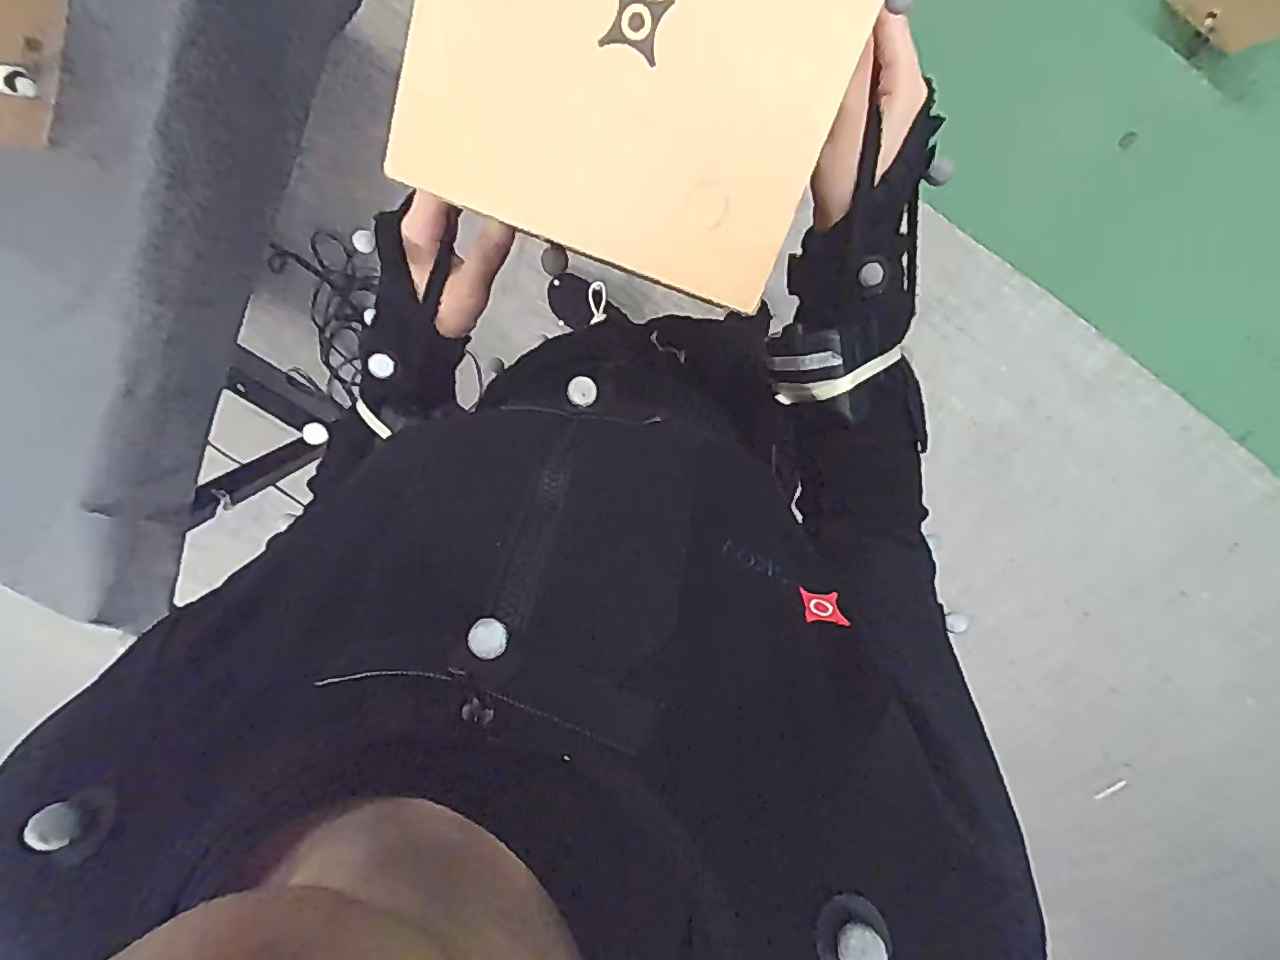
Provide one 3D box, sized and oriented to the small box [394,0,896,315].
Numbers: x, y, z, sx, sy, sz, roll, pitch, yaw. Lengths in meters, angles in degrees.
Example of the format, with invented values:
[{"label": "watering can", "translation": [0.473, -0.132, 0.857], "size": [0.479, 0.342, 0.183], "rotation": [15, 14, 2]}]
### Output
[{"label": "small box", "translation": [0.011, -0.196, 0.269], "size": [0.168, 0.176, 0.179], "rotation": [20, 108, -2]}]
